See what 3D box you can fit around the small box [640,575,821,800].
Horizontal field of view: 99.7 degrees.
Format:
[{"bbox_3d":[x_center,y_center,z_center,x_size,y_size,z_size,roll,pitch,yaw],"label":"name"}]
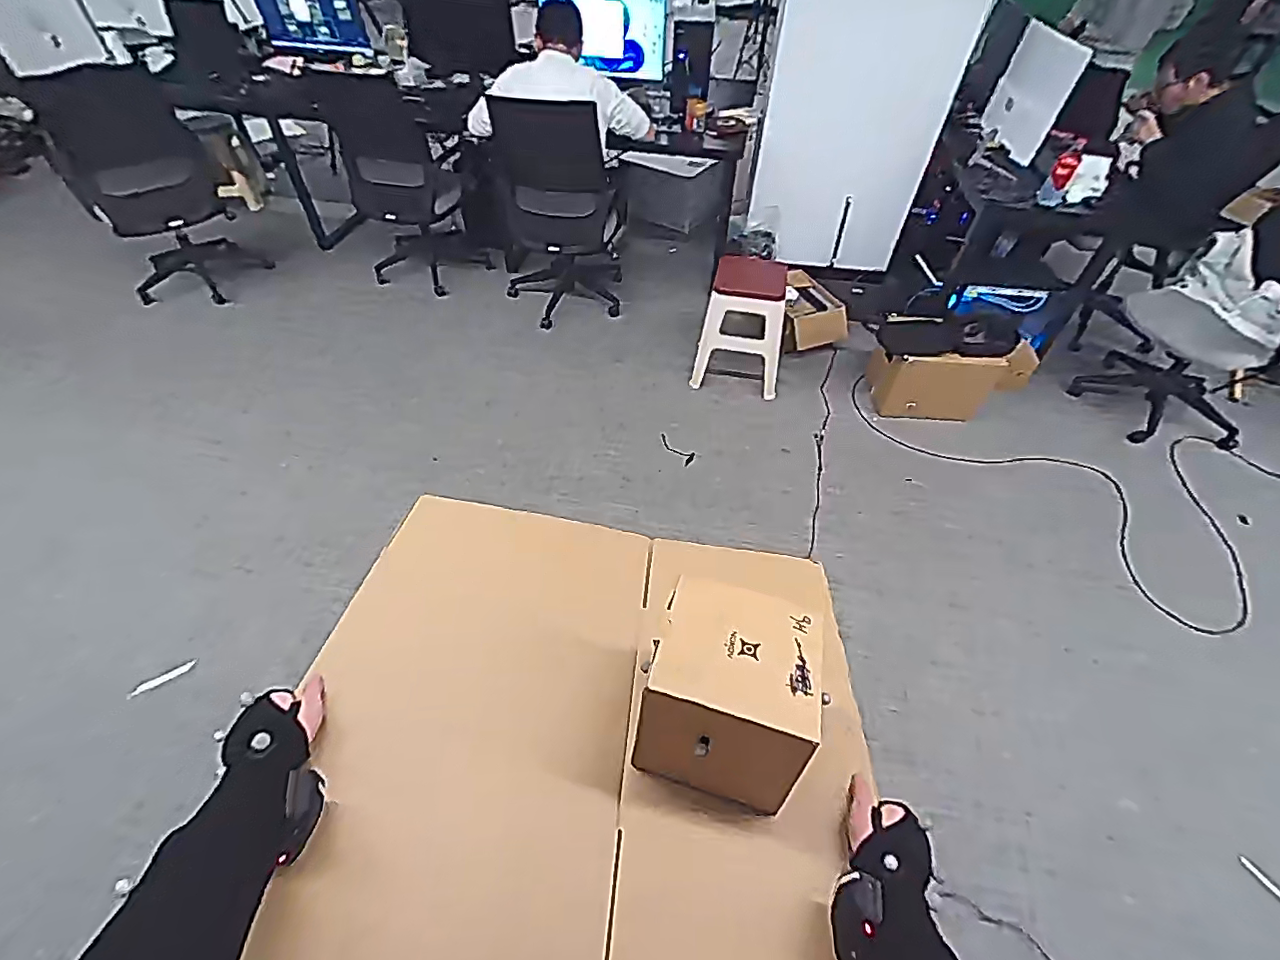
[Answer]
[{"bbox_3d":[0.105,0.246,0.643,0.179,0.176,0.168,13,39,10],"label":"small box"}]
